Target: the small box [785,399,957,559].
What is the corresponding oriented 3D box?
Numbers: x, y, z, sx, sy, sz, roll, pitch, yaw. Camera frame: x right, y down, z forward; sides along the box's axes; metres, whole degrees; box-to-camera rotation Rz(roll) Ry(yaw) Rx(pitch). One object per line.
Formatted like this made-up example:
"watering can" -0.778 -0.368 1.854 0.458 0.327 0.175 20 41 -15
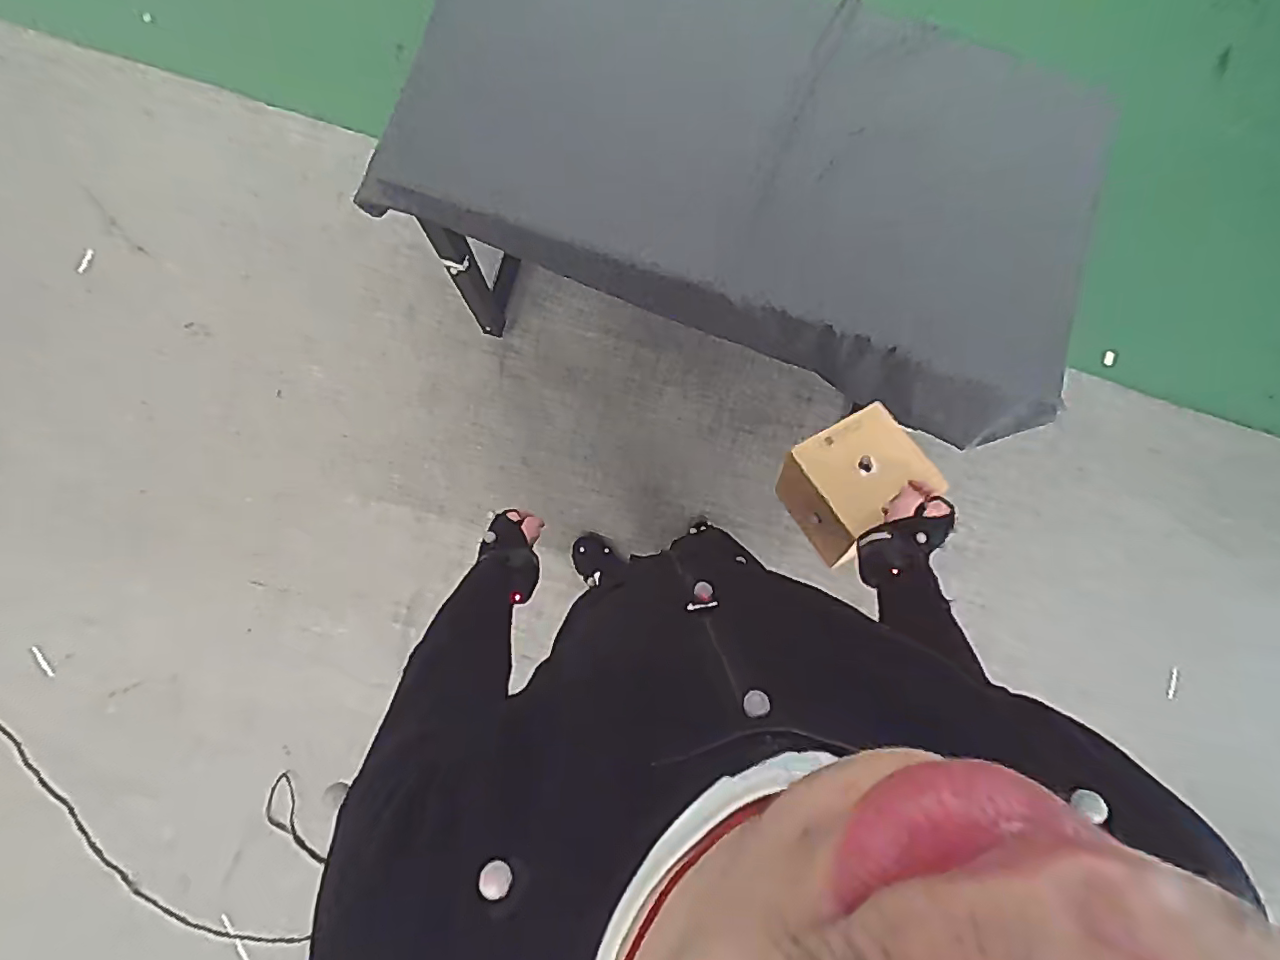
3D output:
"small box" 0.349 -0.004 0.859 0.168 0.179 0.176 -31 67 -3
